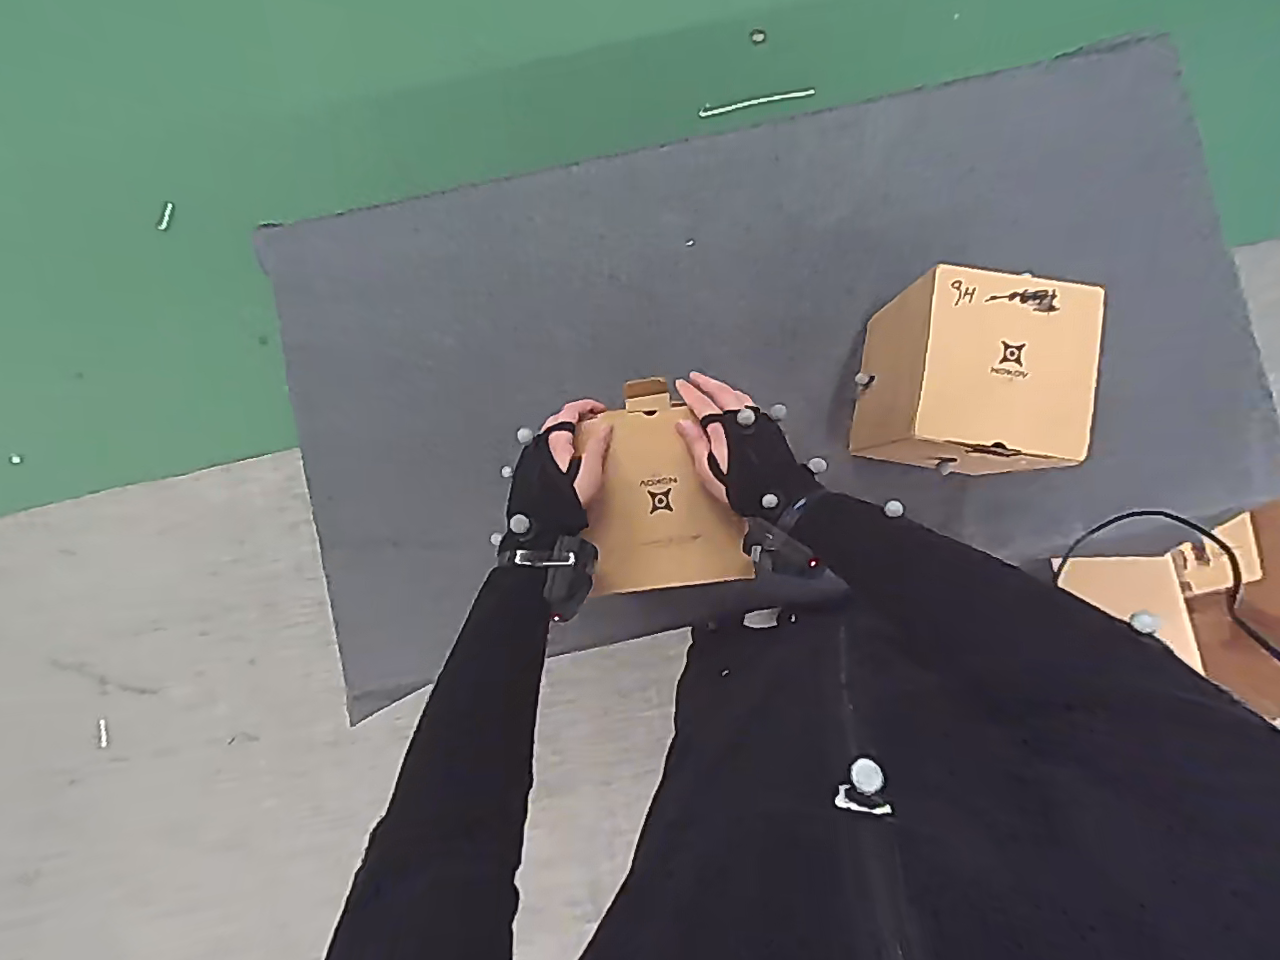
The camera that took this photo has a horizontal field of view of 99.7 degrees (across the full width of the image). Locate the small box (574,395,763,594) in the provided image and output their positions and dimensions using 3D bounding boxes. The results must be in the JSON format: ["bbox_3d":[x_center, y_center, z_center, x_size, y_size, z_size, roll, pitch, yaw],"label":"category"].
[{"bbox_3d":[0.026,0.018,0.588,0.168,0.176,0.179,-7,87,1],"label":"small box"}]

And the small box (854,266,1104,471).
[{"bbox_3d":[0.358,-0.109,0.606,0.168,0.176,0.179,10,88,2],"label":"small box"}]
